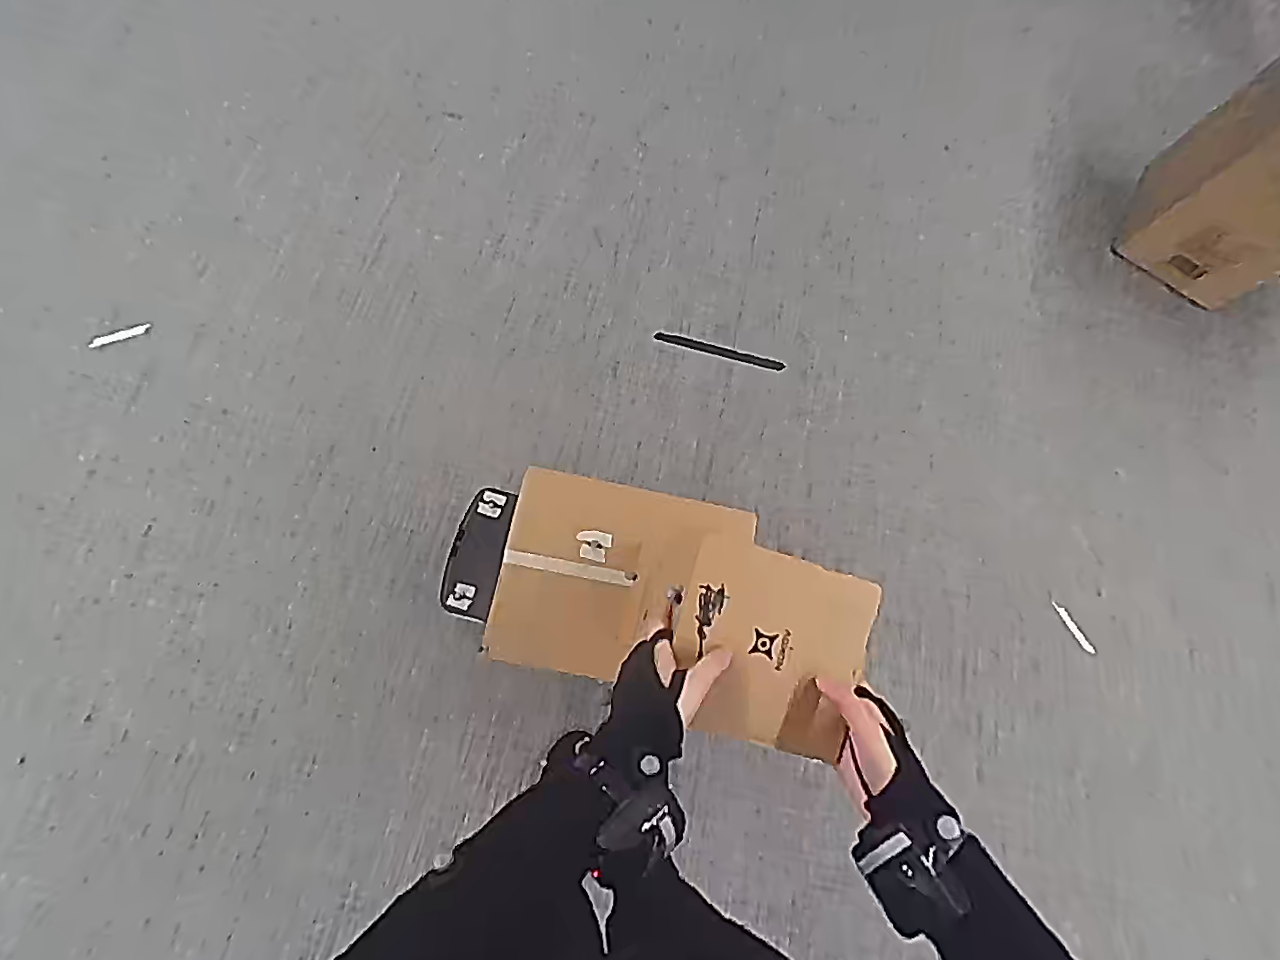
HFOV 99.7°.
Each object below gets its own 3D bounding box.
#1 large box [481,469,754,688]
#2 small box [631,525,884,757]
[{"bbox_3d":[-0.037,0.201,1.008,0.408,0.320,0.320,12,72,-4],"label":"large box"},{"bbox_3d":[0.104,0.146,0.550,0.179,0.176,0.168,19,82,-7],"label":"small box"}]
